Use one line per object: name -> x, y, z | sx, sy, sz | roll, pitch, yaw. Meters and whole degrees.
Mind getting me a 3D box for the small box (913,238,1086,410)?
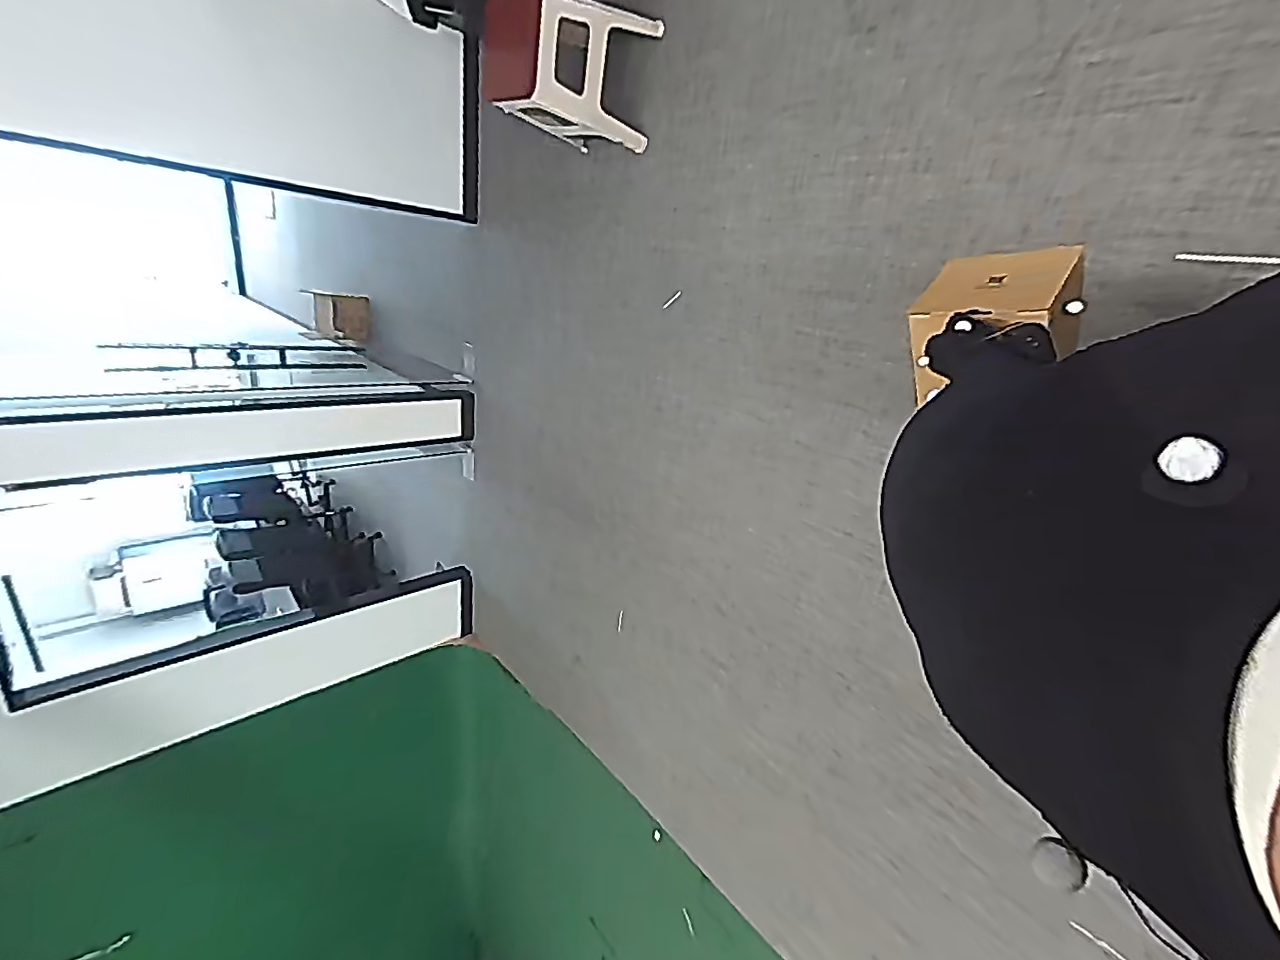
small box -> 0.525, -0.226, 0.794 | 0.168, 0.179, 0.176 | 14, 142, 45
